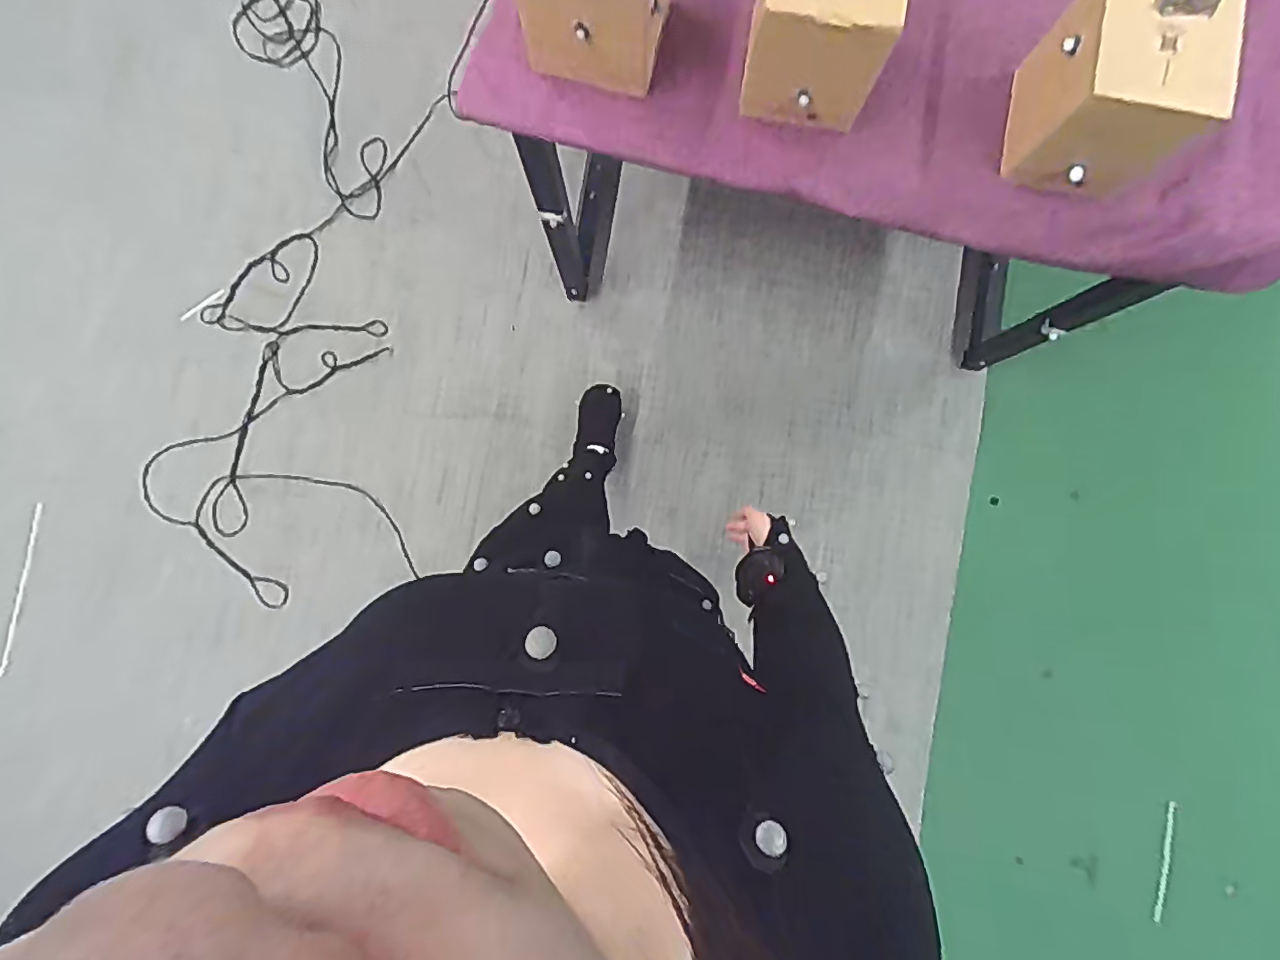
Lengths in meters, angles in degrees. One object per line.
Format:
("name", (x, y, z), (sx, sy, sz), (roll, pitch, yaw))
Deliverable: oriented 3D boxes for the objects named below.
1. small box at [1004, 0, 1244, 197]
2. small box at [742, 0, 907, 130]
("small box", (0.622, -0.516, 0.717), (0.168, 0.176, 0.179), (10, 87, 1))
("small box", (0.240, -0.615, 0.719), (0.168, 0.176, 0.179), (9, 85, 1))
